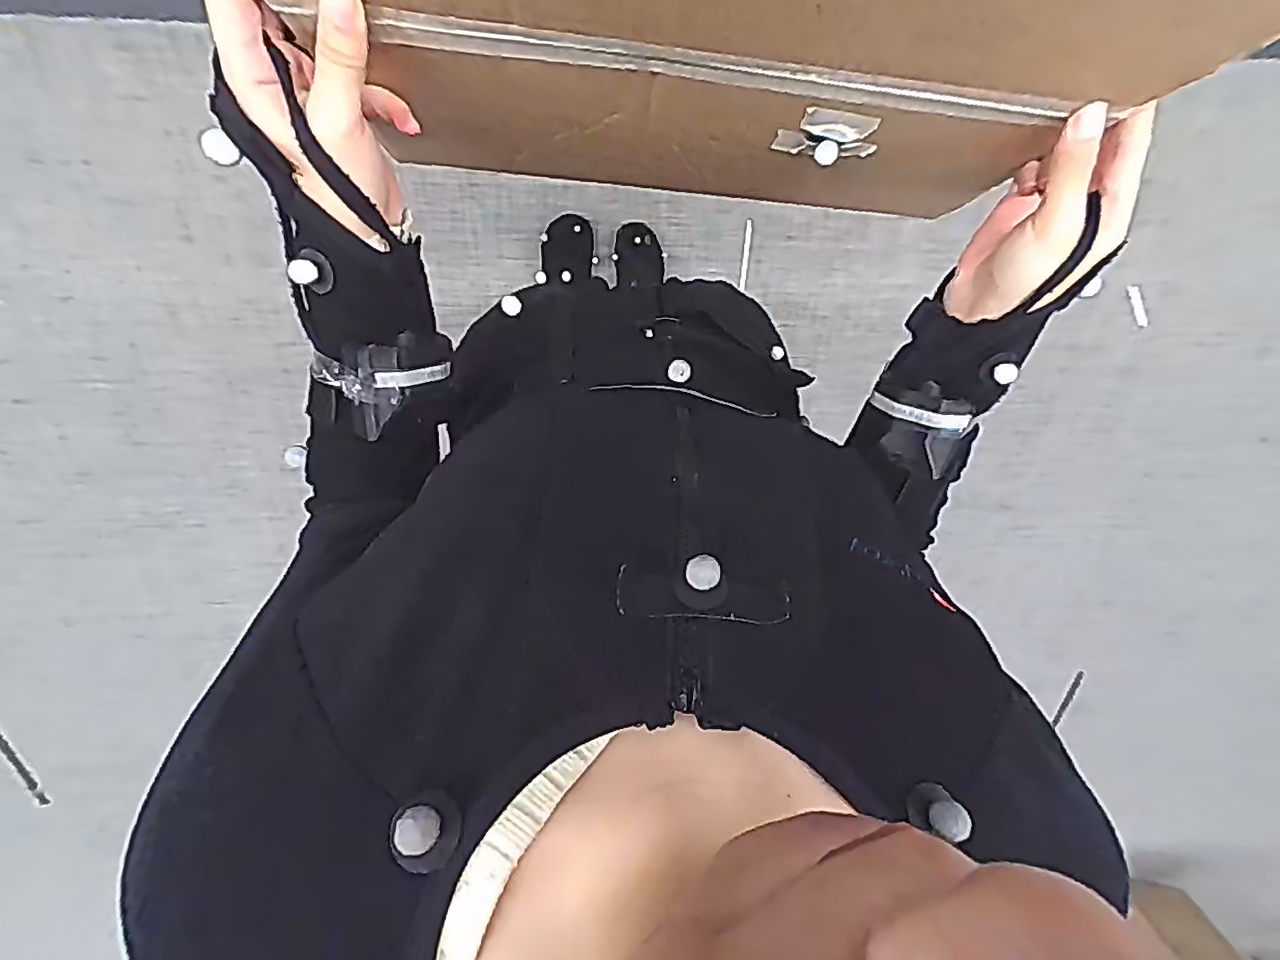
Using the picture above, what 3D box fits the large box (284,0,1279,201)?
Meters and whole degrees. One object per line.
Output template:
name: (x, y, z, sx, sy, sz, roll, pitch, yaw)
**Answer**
large box: (0.047, -0.350, 0.234, 0.408, 0.320, 0.320, 1, 100, -6)
